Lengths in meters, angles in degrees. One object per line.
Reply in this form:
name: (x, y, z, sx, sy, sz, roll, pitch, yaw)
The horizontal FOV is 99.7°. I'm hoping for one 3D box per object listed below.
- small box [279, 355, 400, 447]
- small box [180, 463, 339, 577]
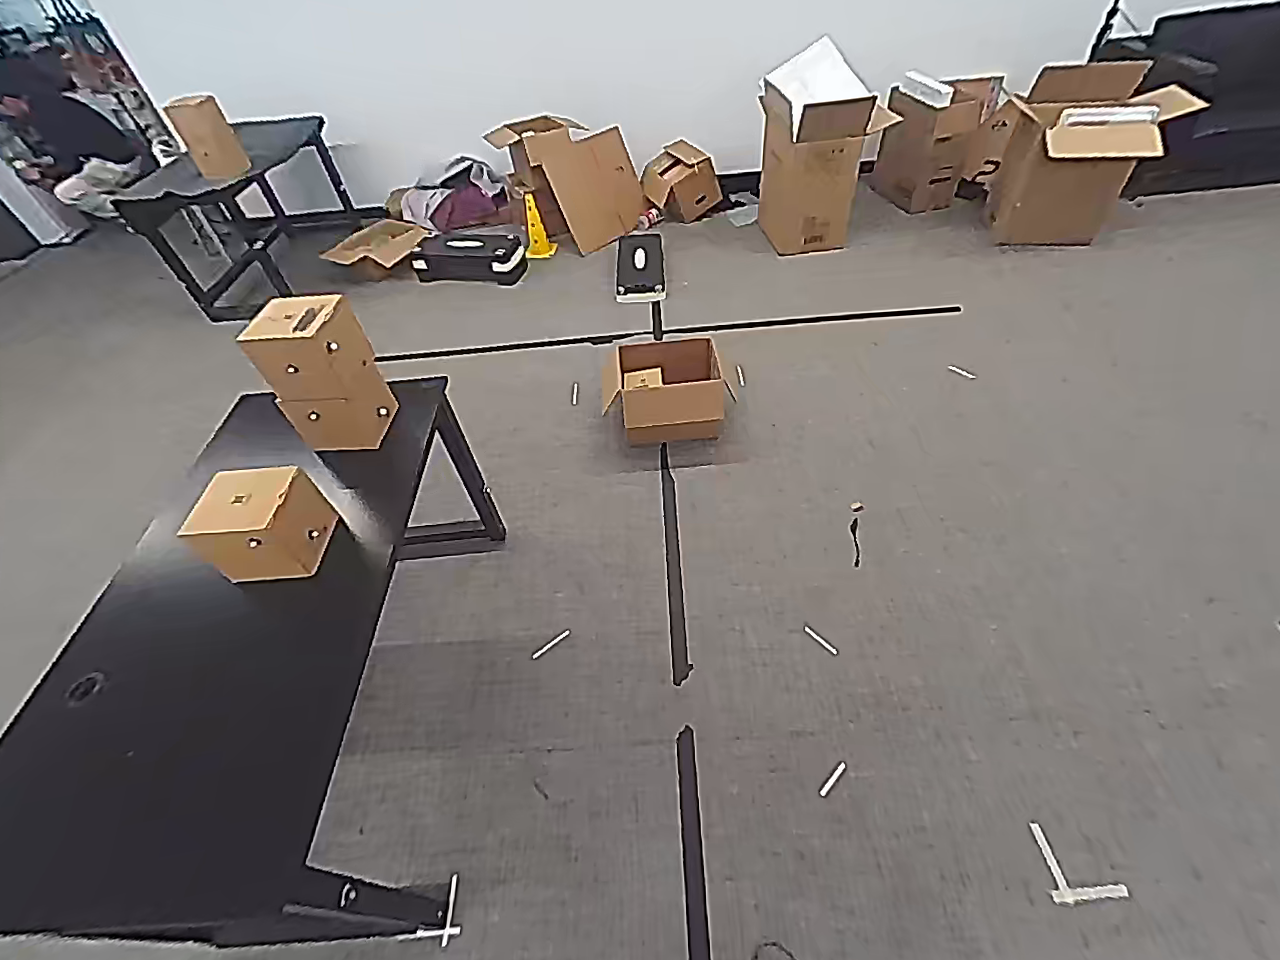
small box: (-0.741, -0.194, 1.354, 0.179, 0.176, 0.168, -1, 50, 5)
small box: (-0.765, 0.087, 1.111, 0.179, 0.176, 0.168, -5, 48, 1)
